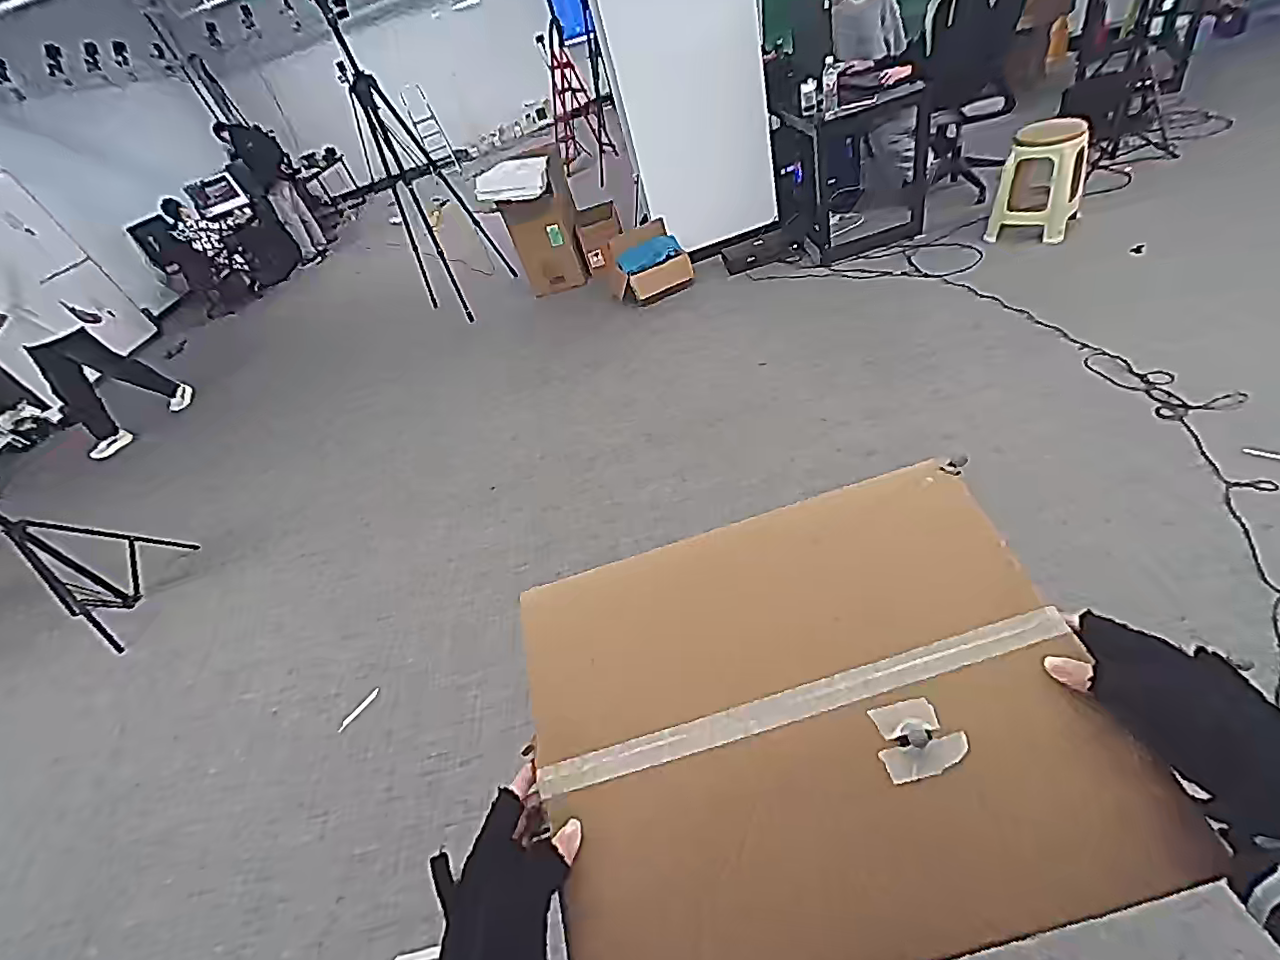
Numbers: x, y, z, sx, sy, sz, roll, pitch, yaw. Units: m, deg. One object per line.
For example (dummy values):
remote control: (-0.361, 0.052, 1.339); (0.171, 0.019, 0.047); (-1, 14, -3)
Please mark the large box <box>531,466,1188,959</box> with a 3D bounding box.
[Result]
large box: (0.149, 0.248, 0.547); (0.408, 0.320, 0.320); (-19, 58, 2)
